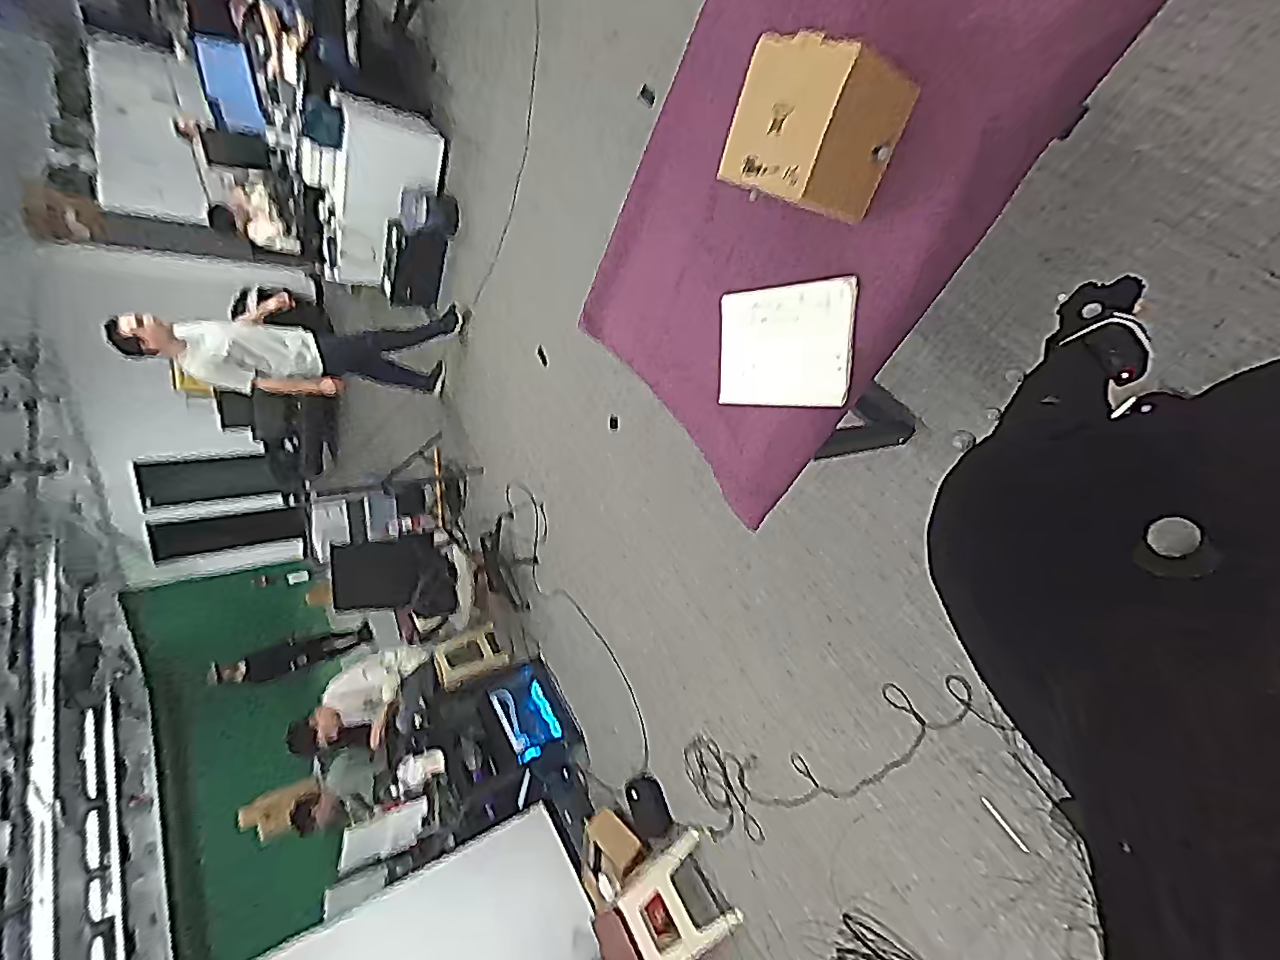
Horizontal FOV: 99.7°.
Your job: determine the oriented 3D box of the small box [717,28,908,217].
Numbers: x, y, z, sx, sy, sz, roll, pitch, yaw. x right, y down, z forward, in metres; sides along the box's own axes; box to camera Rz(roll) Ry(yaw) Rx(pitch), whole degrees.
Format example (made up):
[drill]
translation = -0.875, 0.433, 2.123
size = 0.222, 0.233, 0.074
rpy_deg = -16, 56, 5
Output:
[small box]
translation = 0.247, -0.501, 0.770
size = 0.168, 0.176, 0.179
rpy_deg = 43, 127, 38
